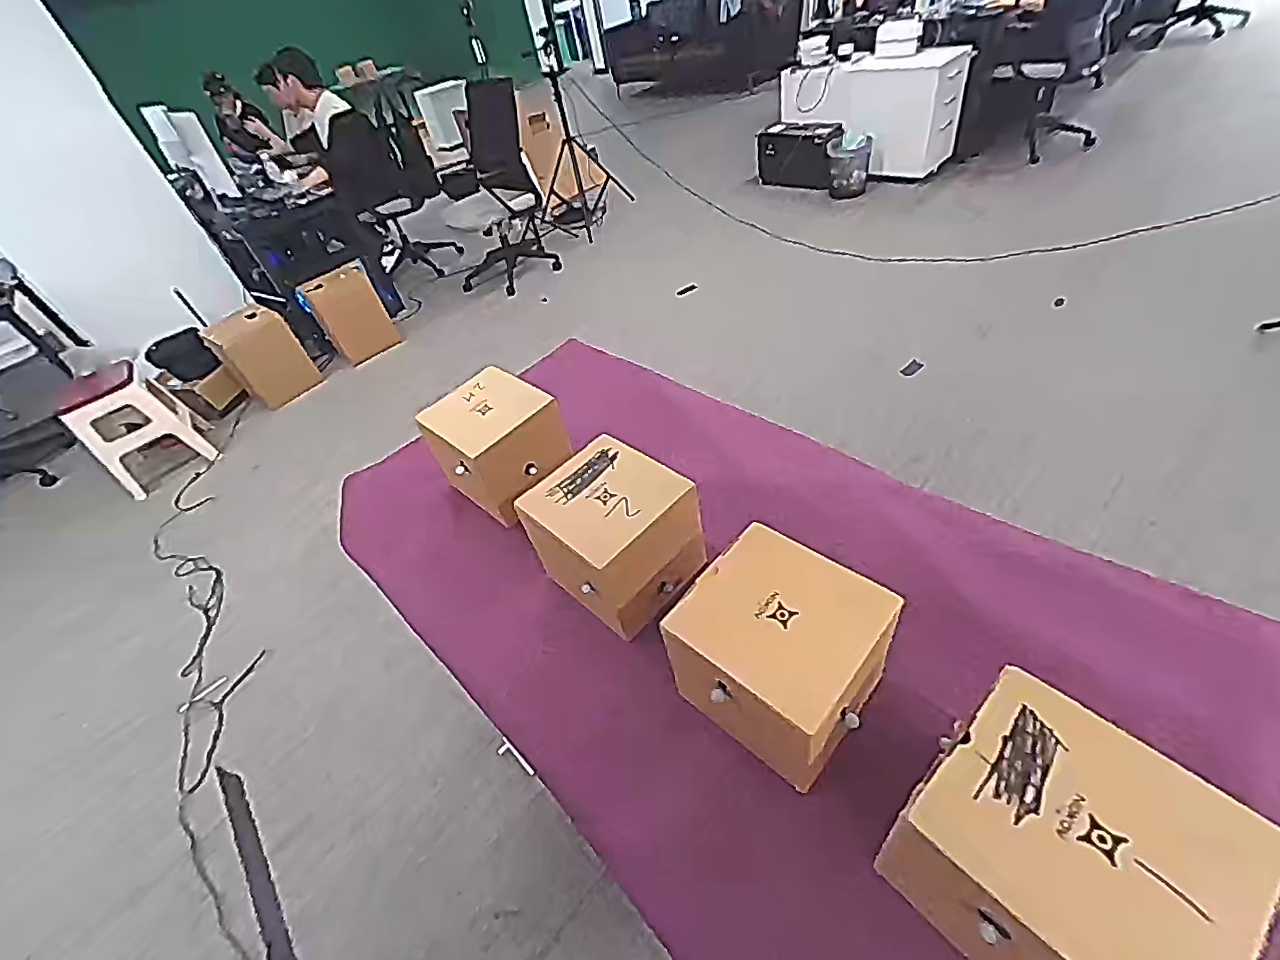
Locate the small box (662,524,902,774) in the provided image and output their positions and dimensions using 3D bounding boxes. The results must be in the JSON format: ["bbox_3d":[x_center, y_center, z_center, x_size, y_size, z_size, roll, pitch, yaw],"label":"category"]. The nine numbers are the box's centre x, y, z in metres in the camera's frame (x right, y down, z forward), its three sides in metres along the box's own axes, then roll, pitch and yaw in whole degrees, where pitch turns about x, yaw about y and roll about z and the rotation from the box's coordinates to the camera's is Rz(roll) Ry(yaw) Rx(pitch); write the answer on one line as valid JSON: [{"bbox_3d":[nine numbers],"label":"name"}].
[{"bbox_3d":[0.152,0.186,0.589,0.179,0.176,0.168,28,58,36],"label":"small box"}]

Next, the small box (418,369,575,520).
[{"bbox_3d":[-0.236,-0.056,0.927,0.179,0.176,0.168,30,58,33],"label":"small box"}]

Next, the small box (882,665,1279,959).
[{"bbox_3d":[0.320,0.294,0.429,0.168,0.176,0.179,-36,48,-22],"label":"small box"}]
